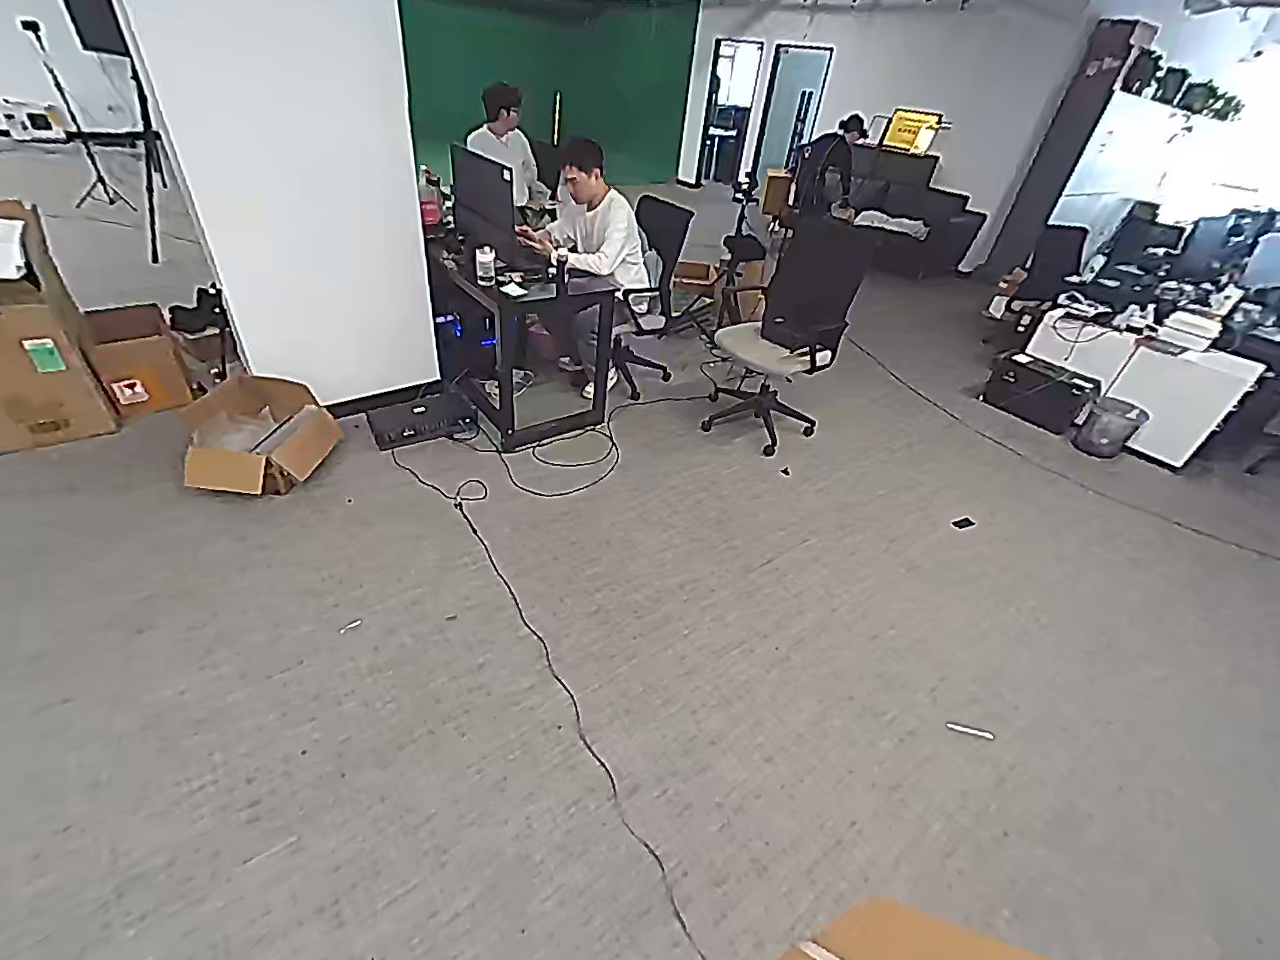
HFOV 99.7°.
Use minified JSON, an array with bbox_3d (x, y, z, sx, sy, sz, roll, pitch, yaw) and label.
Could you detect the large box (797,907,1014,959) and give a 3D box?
[{"bbox_3d":[0.365,0.779,0.608,0.320,0.408,0.320,-14,71,-22],"label":"large box"}]
